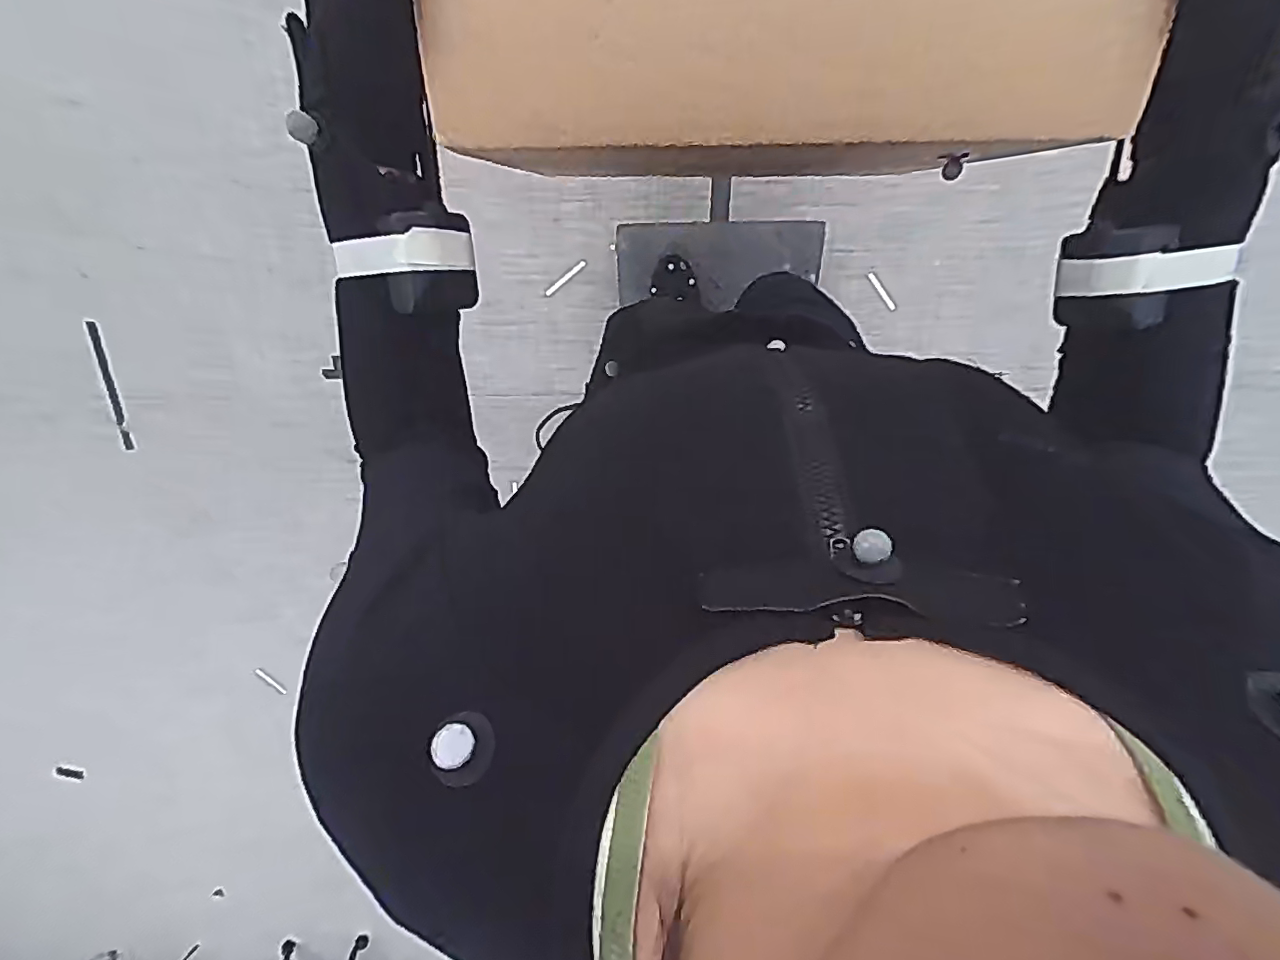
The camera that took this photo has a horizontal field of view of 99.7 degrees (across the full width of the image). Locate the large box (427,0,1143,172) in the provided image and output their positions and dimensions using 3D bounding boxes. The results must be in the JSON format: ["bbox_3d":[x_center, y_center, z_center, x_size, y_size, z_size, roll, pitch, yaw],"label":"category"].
[{"bbox_3d":[0.082,-0.410,0.393,0.408,0.320,0.320,0,116,2],"label":"large box"}]
